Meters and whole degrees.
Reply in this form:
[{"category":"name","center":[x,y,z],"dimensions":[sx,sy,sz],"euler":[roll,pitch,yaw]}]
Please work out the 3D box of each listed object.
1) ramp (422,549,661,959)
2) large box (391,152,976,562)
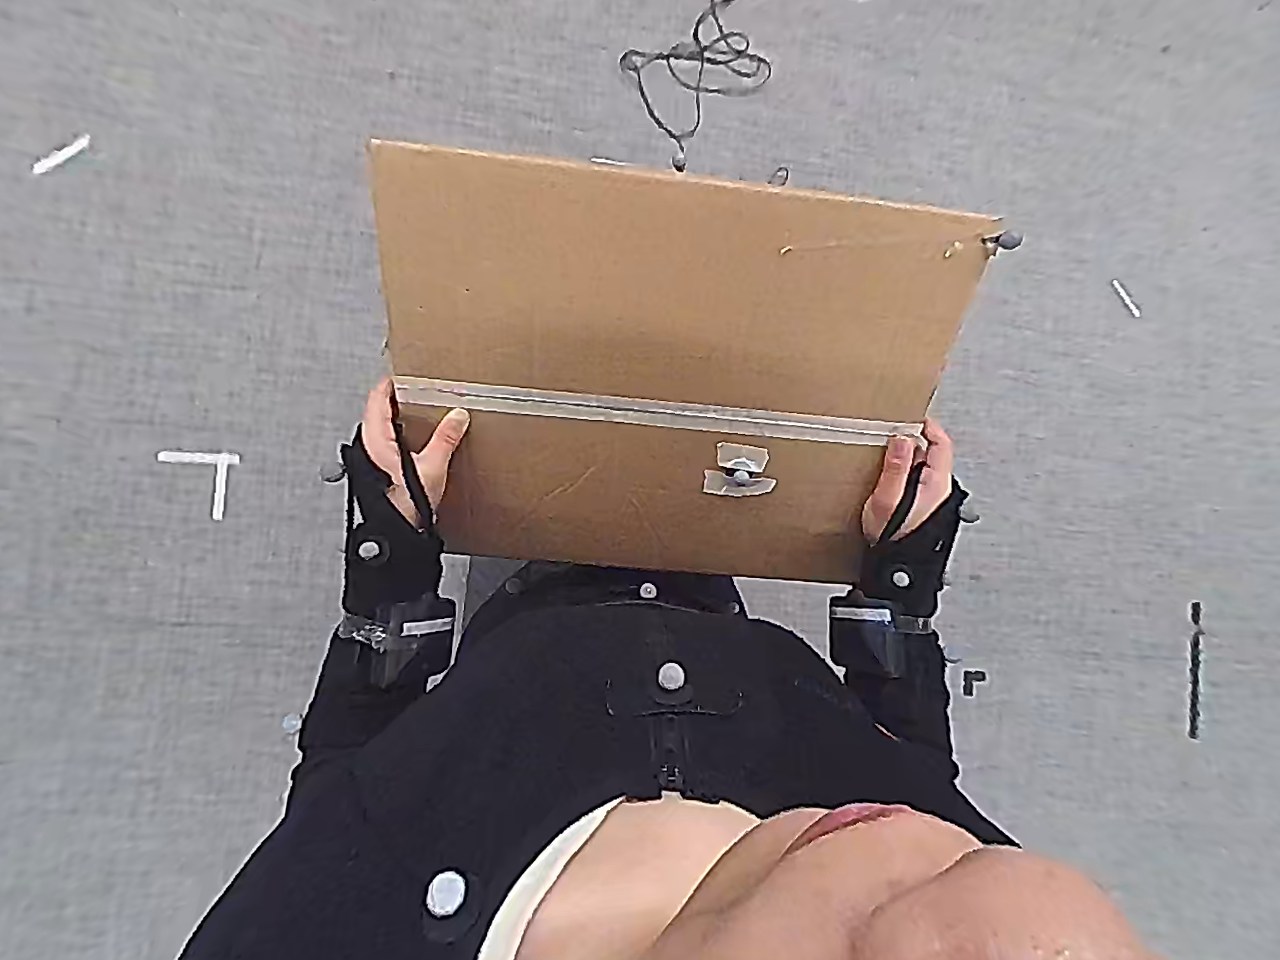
[{"category":"ramp","center":[-0.203,0.669,1.259],"dimensions":[0.509,0.206,0.991],"euler":[3,85,-7]},{"category":"large box","center":[0.017,-0.138,0.561],"dimensions":[0.408,0.320,0.320],"euler":[4,121,-5]}]
